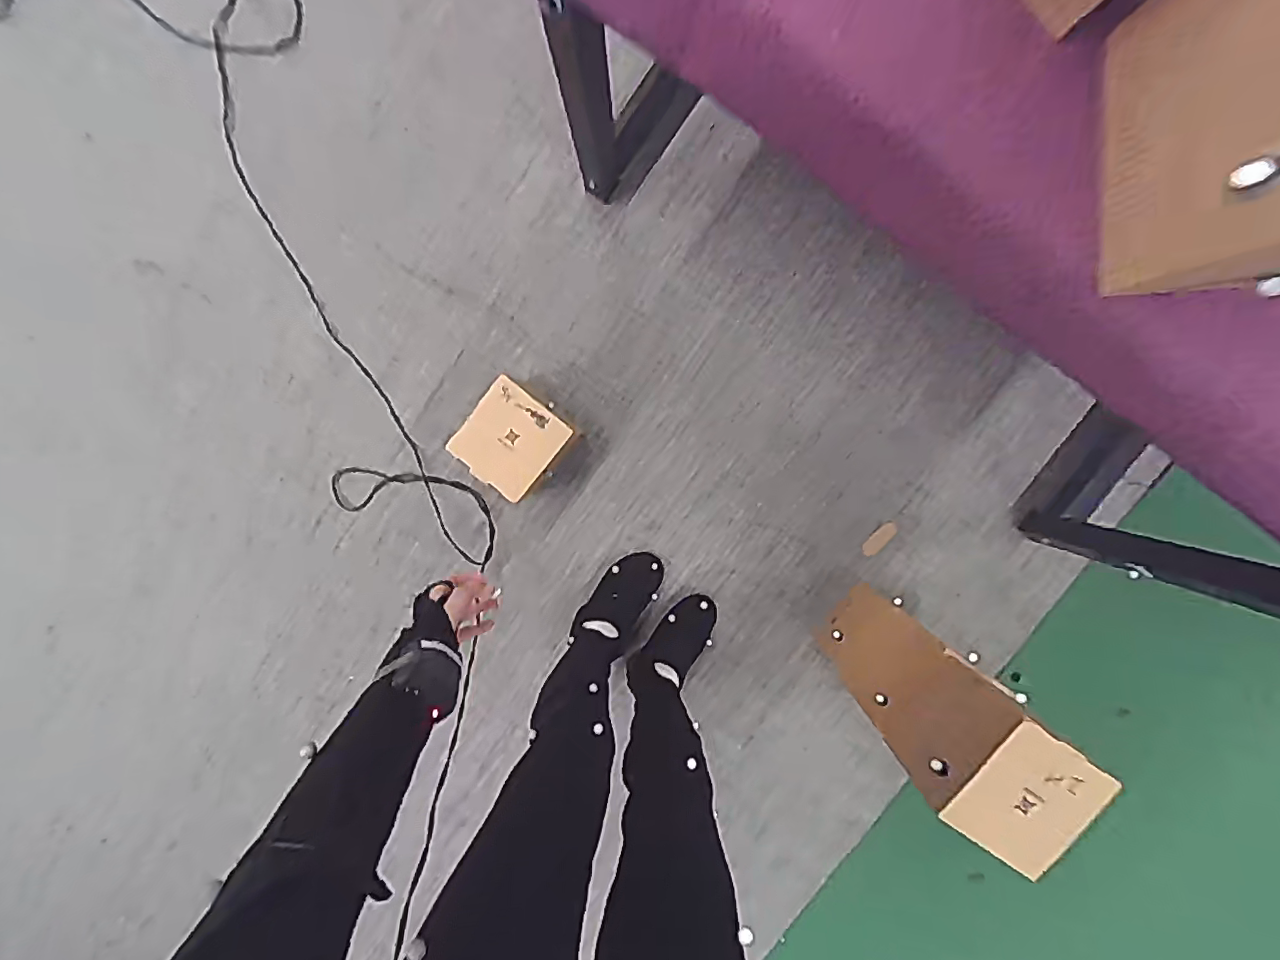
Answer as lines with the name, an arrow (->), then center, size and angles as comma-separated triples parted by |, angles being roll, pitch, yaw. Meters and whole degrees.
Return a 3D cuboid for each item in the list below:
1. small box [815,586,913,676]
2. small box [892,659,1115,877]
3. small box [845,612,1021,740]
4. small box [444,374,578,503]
small box -> 0.487, 0.337, 1.095 | 0.179, 0.176, 0.168 | 37, 96, -5
small box -> 0.495, 0.397, 0.774 | 0.168, 0.176, 0.179 | 35, 97, -4
small box -> 0.490, 0.361, 0.935 | 0.168, 0.176, 0.179 | 34, 97, -4
small box -> -0.236, -0.082, 1.044 | 0.168, 0.176, 0.179 | 40, 96, -5
